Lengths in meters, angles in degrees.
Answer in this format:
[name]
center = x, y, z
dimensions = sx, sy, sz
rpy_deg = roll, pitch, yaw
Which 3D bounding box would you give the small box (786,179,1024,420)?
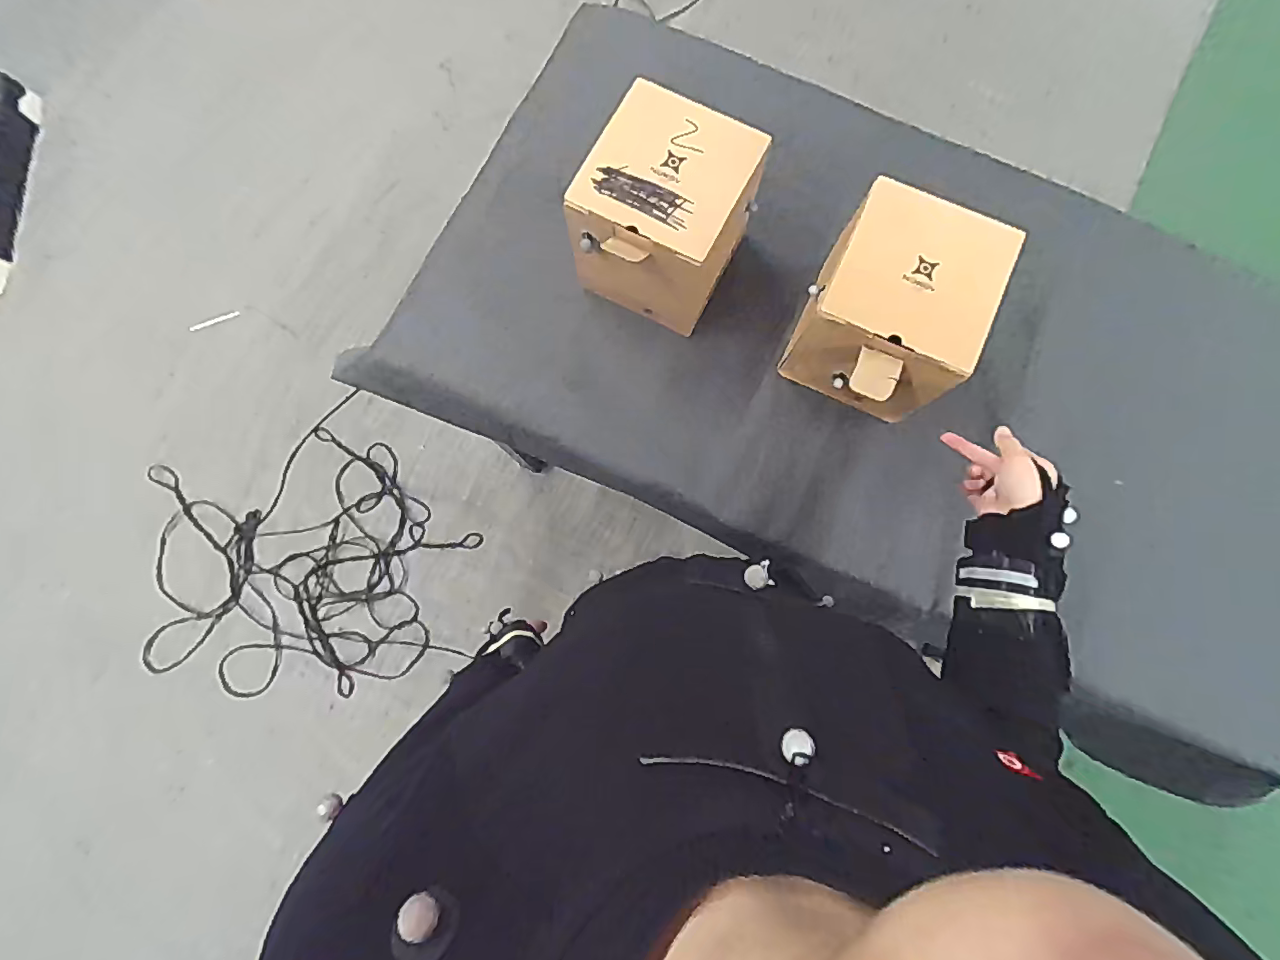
[small box]
center = 0.291, -0.196, 0.633
dimensions = 0.168, 0.176, 0.179
rpy_deg = 25, 81, 4
